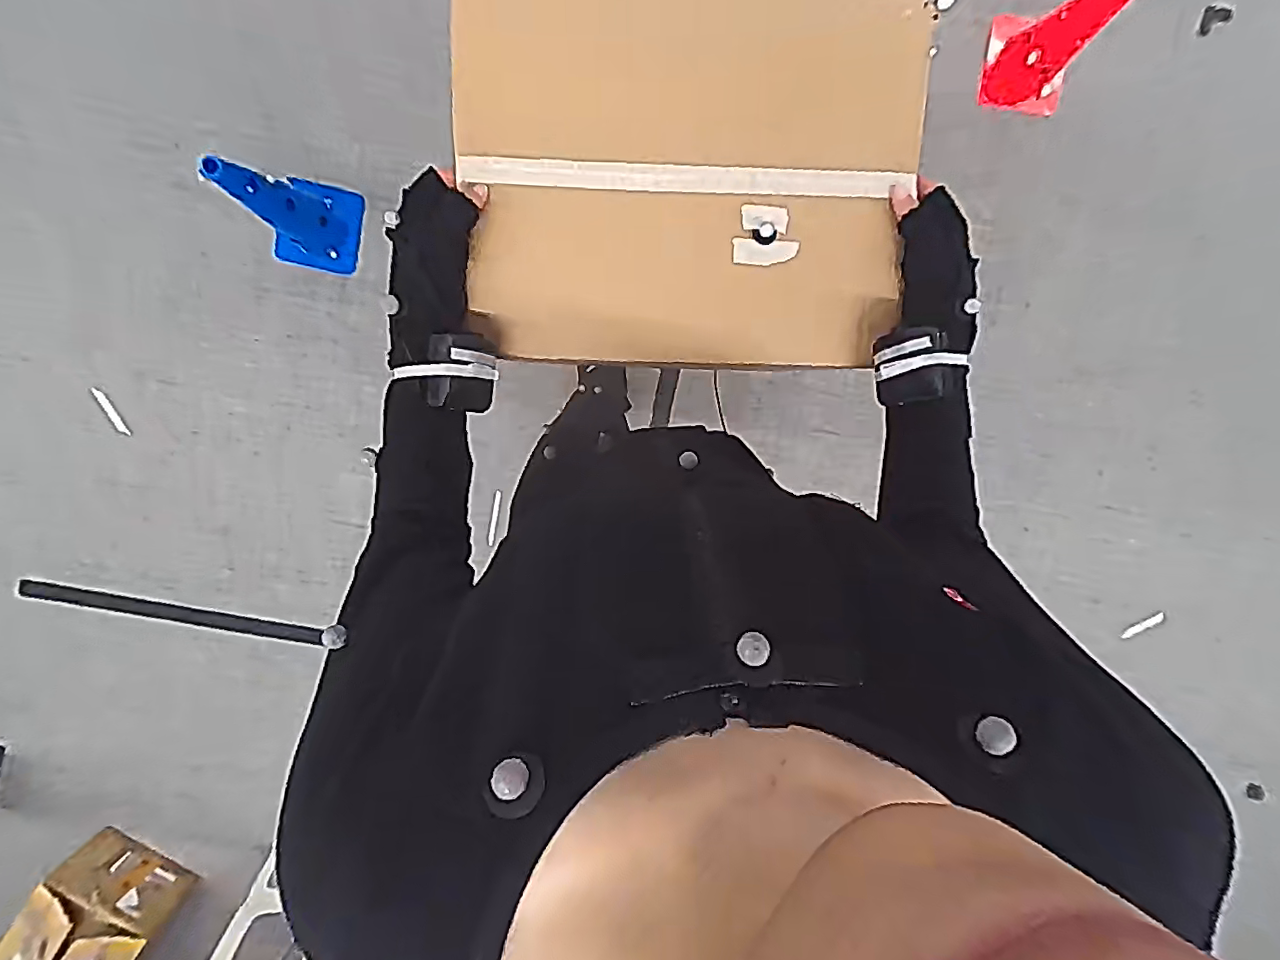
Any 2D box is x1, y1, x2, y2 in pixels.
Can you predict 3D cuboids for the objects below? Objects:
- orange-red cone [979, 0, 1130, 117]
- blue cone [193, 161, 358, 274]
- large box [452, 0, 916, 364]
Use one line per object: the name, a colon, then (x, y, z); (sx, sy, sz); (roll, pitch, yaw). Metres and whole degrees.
orange-red cone: (0.946, -0.988, 1.155); (0.198, 0.360, 0.199); (8, 97, -4)
blue cone: (-0.800, -0.597, 1.182); (0.192, 0.380, 0.193); (14, 98, -3)
large box: (0.030, -0.299, 0.627); (0.408, 0.320, 0.320); (0, 101, -4)
